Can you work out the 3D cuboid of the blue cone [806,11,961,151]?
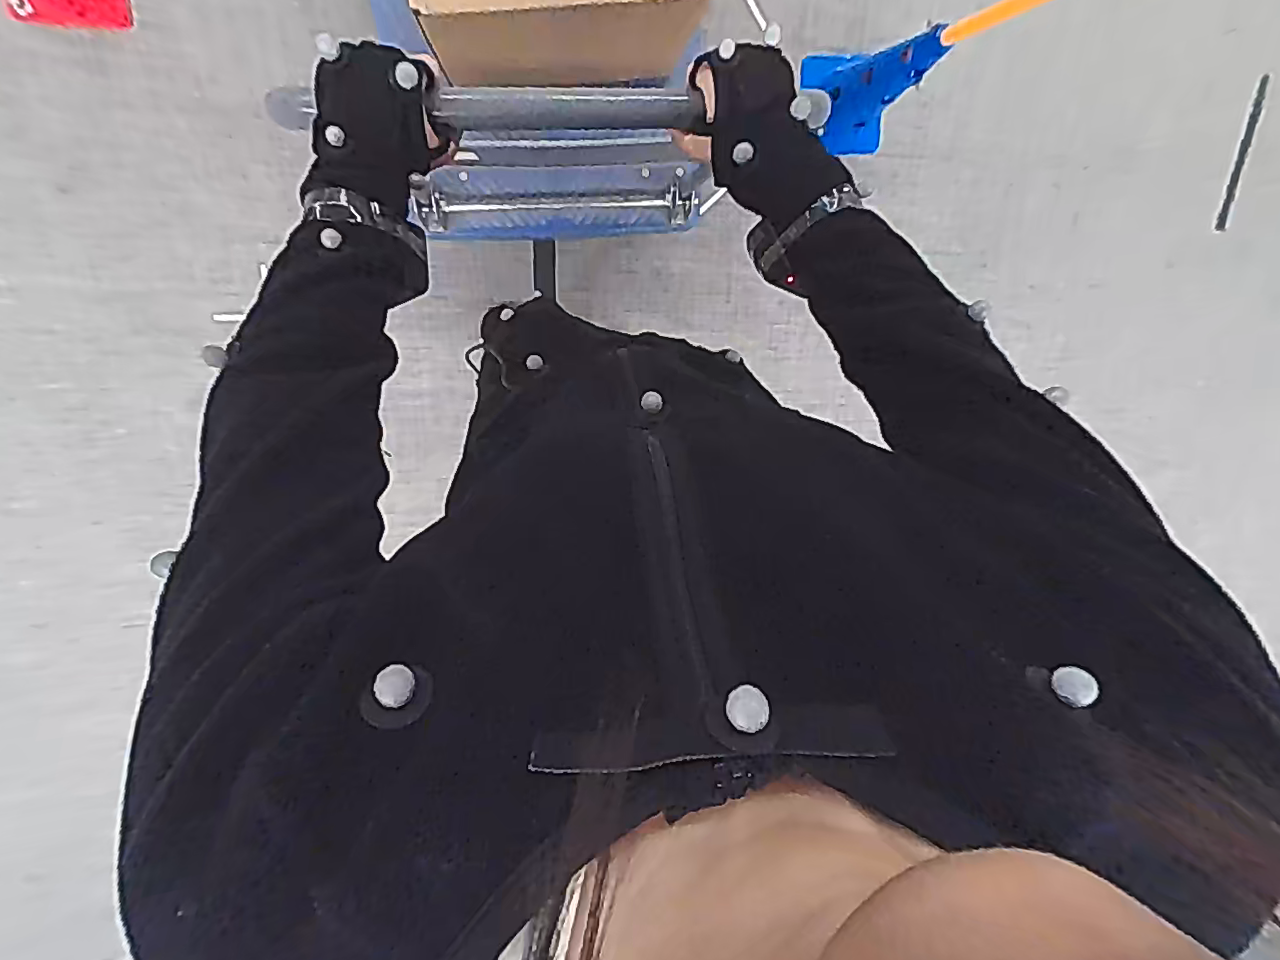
[{"bbox_3d":[0.498,-0.817,1.091,0.193,0.380,0.192,-5,108,-8],"label":"blue cone"}]
